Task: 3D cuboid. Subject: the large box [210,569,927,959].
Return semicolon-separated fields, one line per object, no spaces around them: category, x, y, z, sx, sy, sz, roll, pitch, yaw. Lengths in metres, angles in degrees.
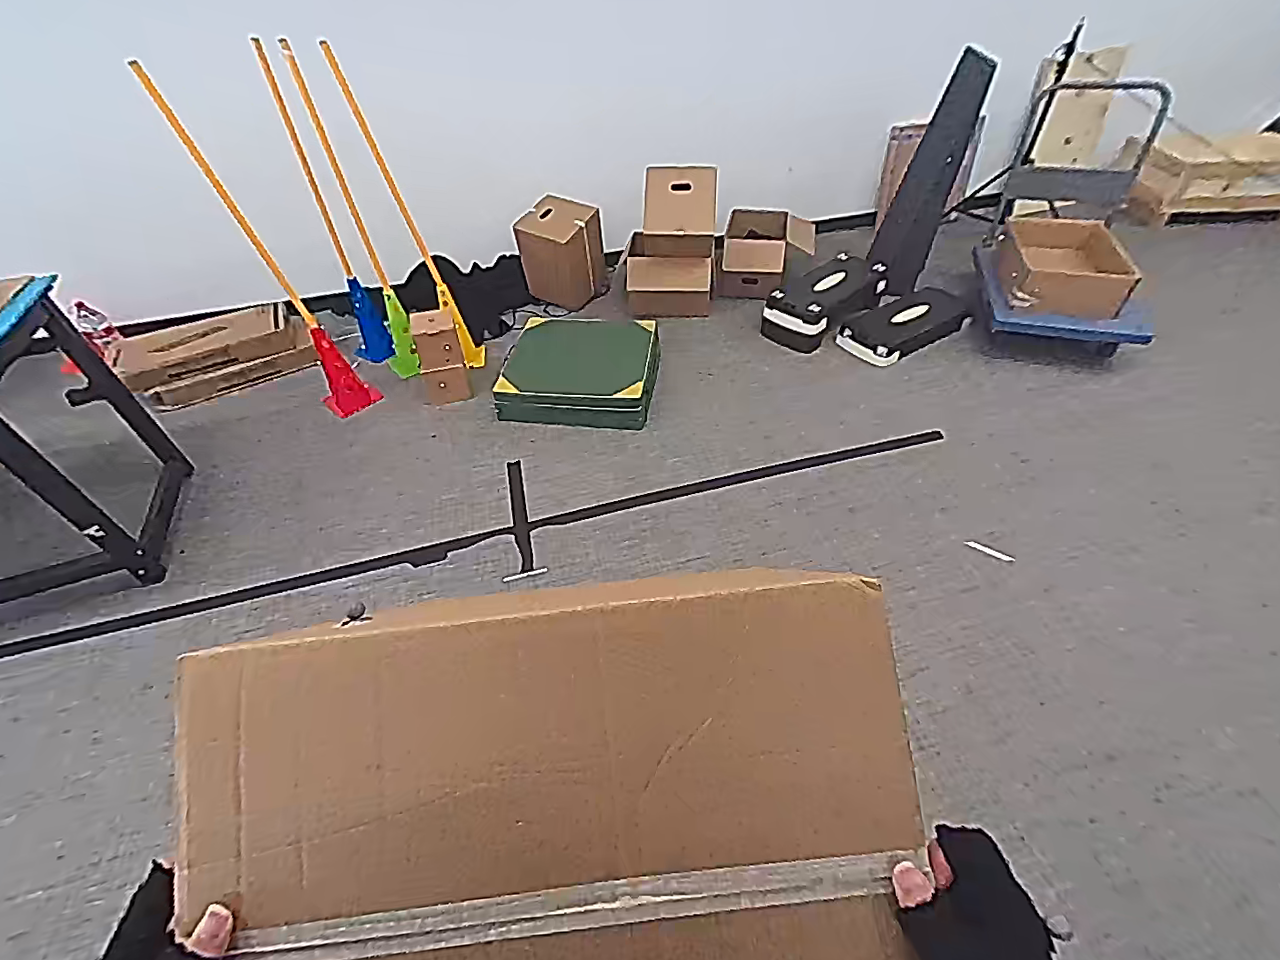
large box;-0.044;0.253;0.452;0.408;0.320;0.320;-6;83;0
